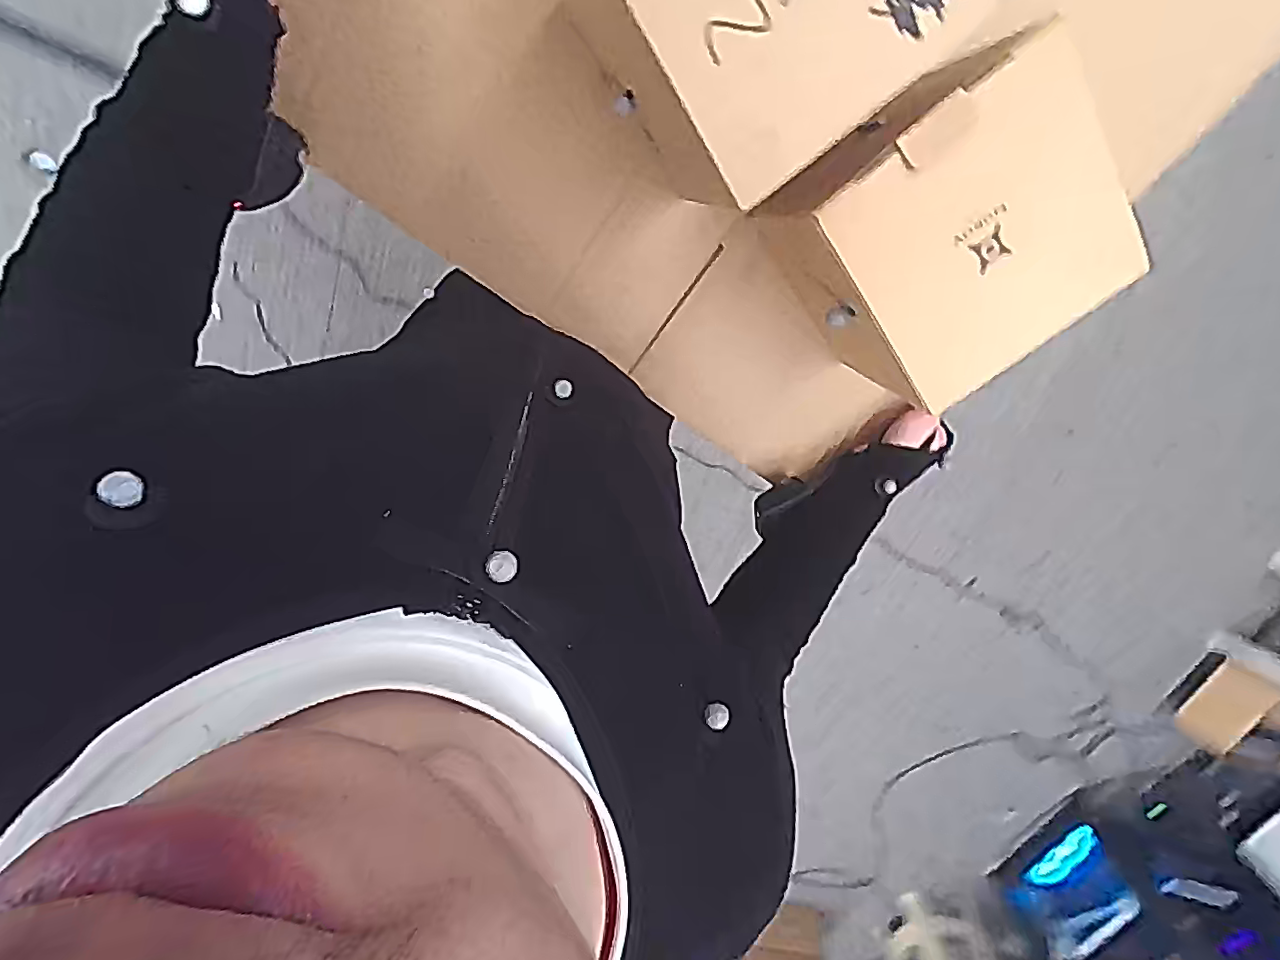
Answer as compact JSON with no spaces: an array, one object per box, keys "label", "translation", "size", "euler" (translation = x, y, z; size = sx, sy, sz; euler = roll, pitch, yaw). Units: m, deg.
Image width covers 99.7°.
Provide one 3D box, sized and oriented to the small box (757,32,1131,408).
[{"label":"small box","translation":[0.222,-0.194,0.436],"size":[0.168,0.176,0.179],"euler":[-38,112,13]}]
